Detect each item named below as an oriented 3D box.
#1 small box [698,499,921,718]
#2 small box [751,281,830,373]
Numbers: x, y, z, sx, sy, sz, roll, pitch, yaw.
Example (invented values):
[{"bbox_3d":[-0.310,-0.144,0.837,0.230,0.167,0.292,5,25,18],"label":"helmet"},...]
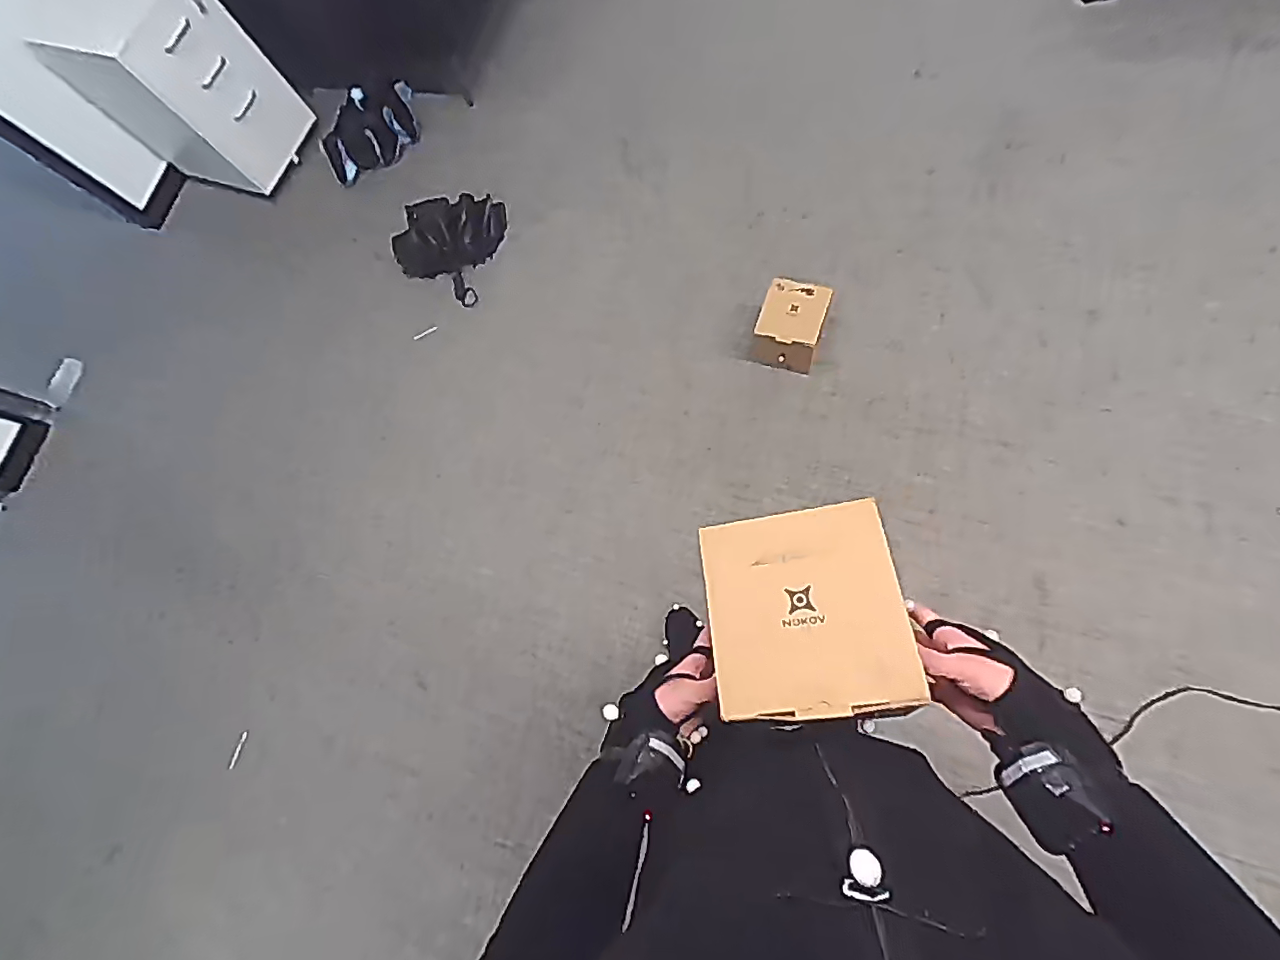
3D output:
[{"bbox_3d":[0.163,0.141,0.548,0.168,0.176,0.179,-11,61,12],"label":"small box"},{"bbox_3d":[0.420,-0.422,1.515,0.168,0.176,0.179,18,80,16],"label":"small box"}]
